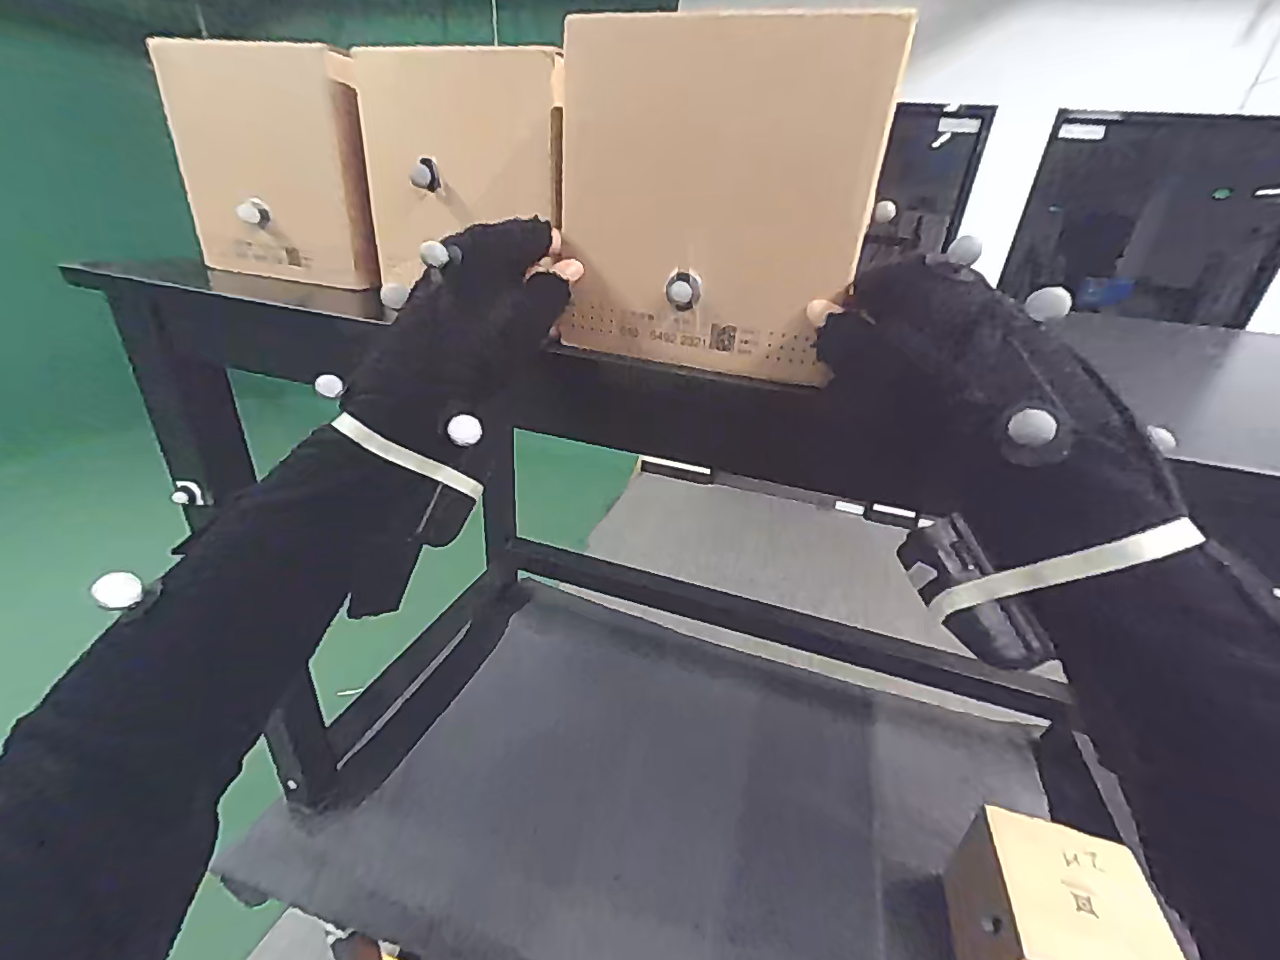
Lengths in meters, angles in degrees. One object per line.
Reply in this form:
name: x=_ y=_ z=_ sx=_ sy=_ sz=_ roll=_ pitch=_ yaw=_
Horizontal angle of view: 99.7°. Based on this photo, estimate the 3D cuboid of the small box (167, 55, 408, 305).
small box: x=-0.275 y=-0.273 z=0.510 sx=0.168 sy=0.176 sz=0.179 roll=12 pitch=29 yaw=13

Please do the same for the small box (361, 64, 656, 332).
small box: x=-0.096 y=-0.230 z=0.462 sx=0.168 sy=0.176 sz=0.179 roll=14 pitch=28 yaw=18

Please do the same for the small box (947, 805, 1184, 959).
small box: x=0.492 y=0.544 z=0.644 sx=0.168 sy=0.176 sz=0.179 roll=12 pitch=27 yaw=13
